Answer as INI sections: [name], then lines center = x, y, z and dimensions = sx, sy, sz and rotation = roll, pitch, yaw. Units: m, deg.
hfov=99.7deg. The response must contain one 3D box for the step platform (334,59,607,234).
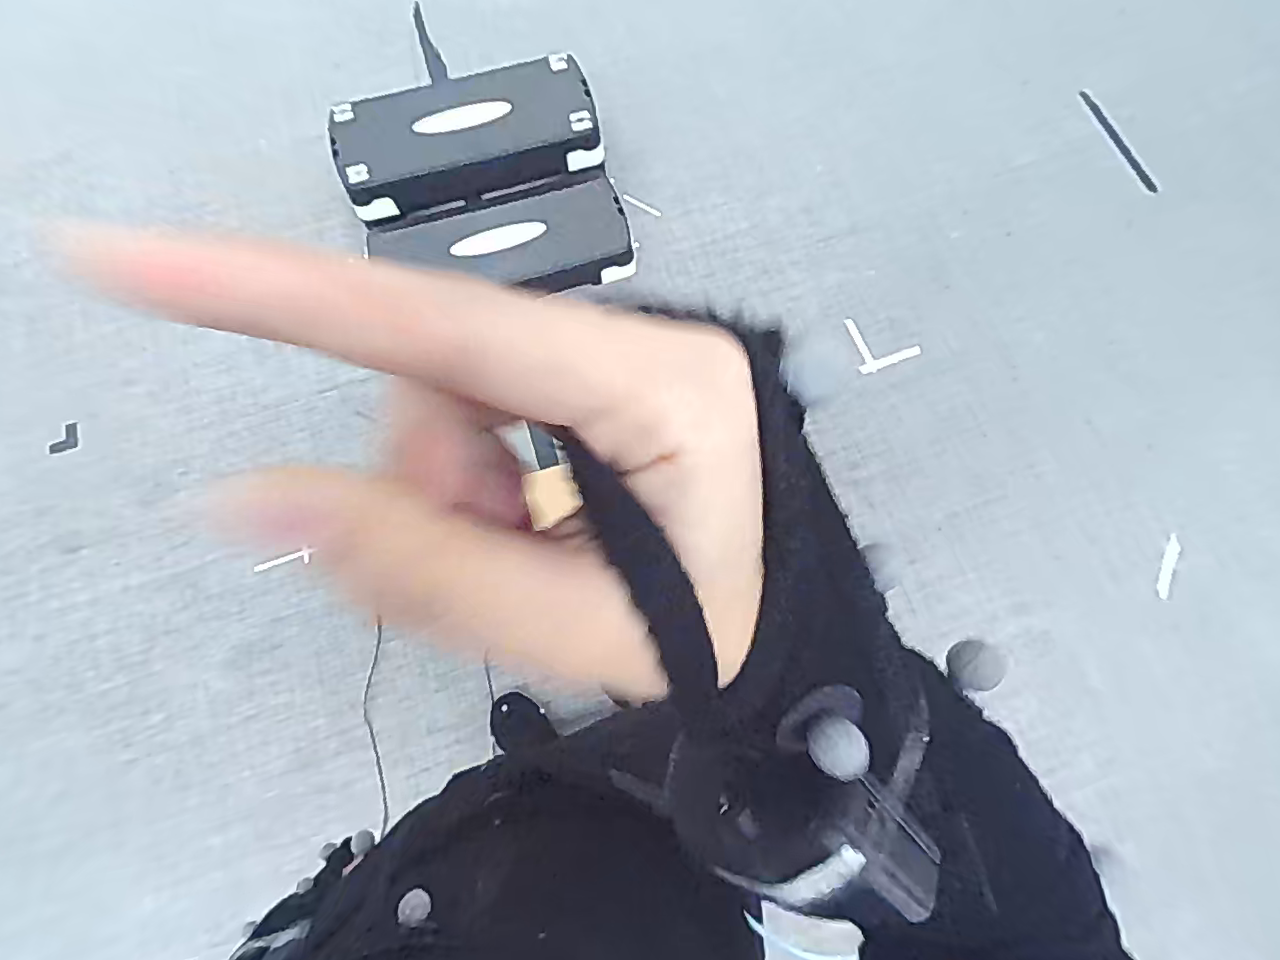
[step platform]
center = -0.437, -0.891, 1.445
dimensions = 0.684, 0.204, 0.286
rotation = -12, 76, -4
